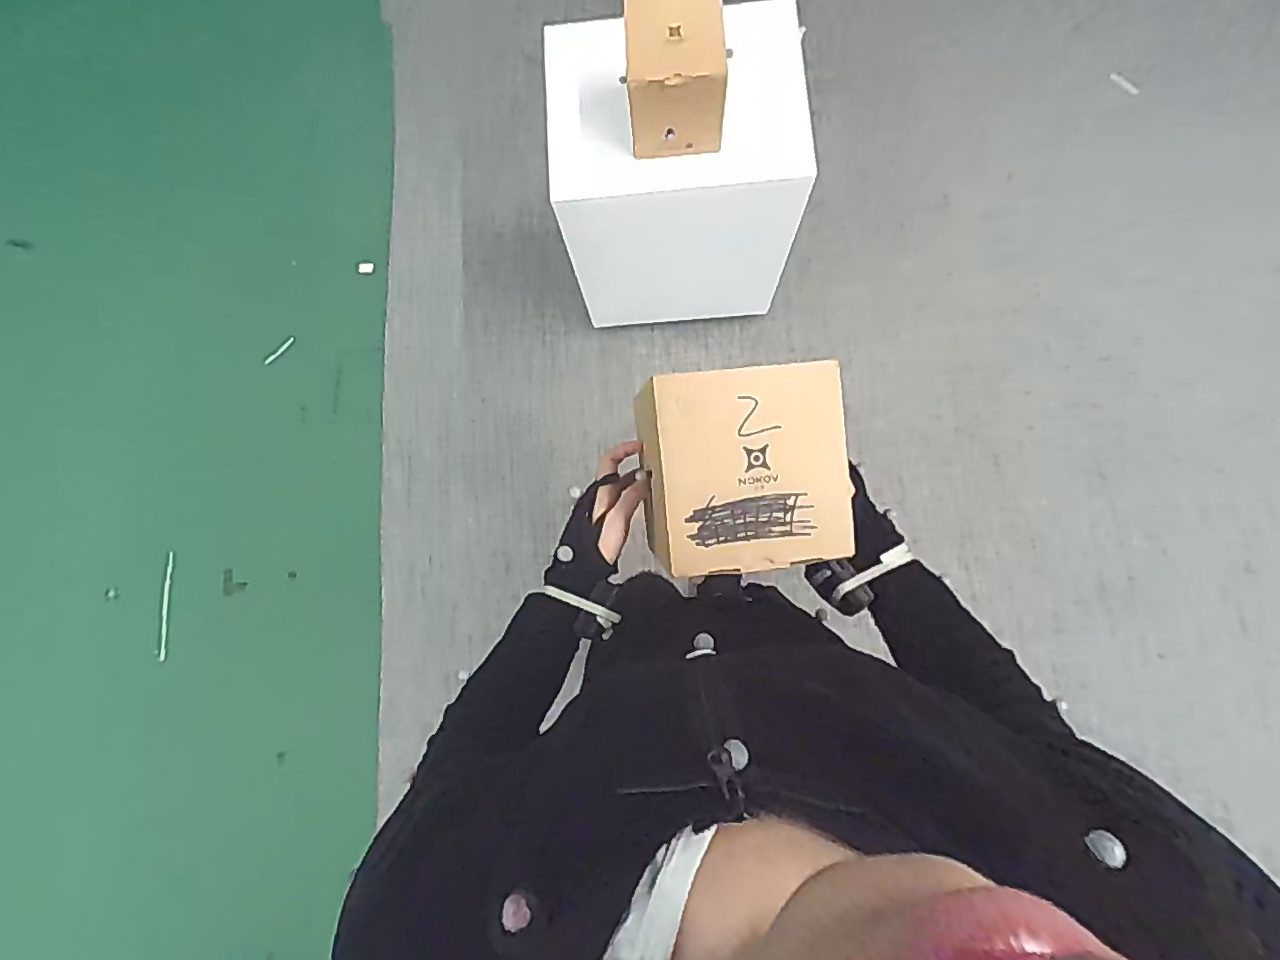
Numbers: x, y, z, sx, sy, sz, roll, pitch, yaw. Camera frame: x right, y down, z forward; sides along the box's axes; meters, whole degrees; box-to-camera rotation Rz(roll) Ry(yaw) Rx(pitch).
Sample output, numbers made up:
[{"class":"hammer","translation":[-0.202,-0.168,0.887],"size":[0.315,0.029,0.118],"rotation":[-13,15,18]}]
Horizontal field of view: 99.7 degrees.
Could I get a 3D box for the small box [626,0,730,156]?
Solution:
[{"class":"small box","translation":[0.063,-0.714,0.954],"size":[0.168,0.176,0.179],"rotation":[-3,80,4]}]
